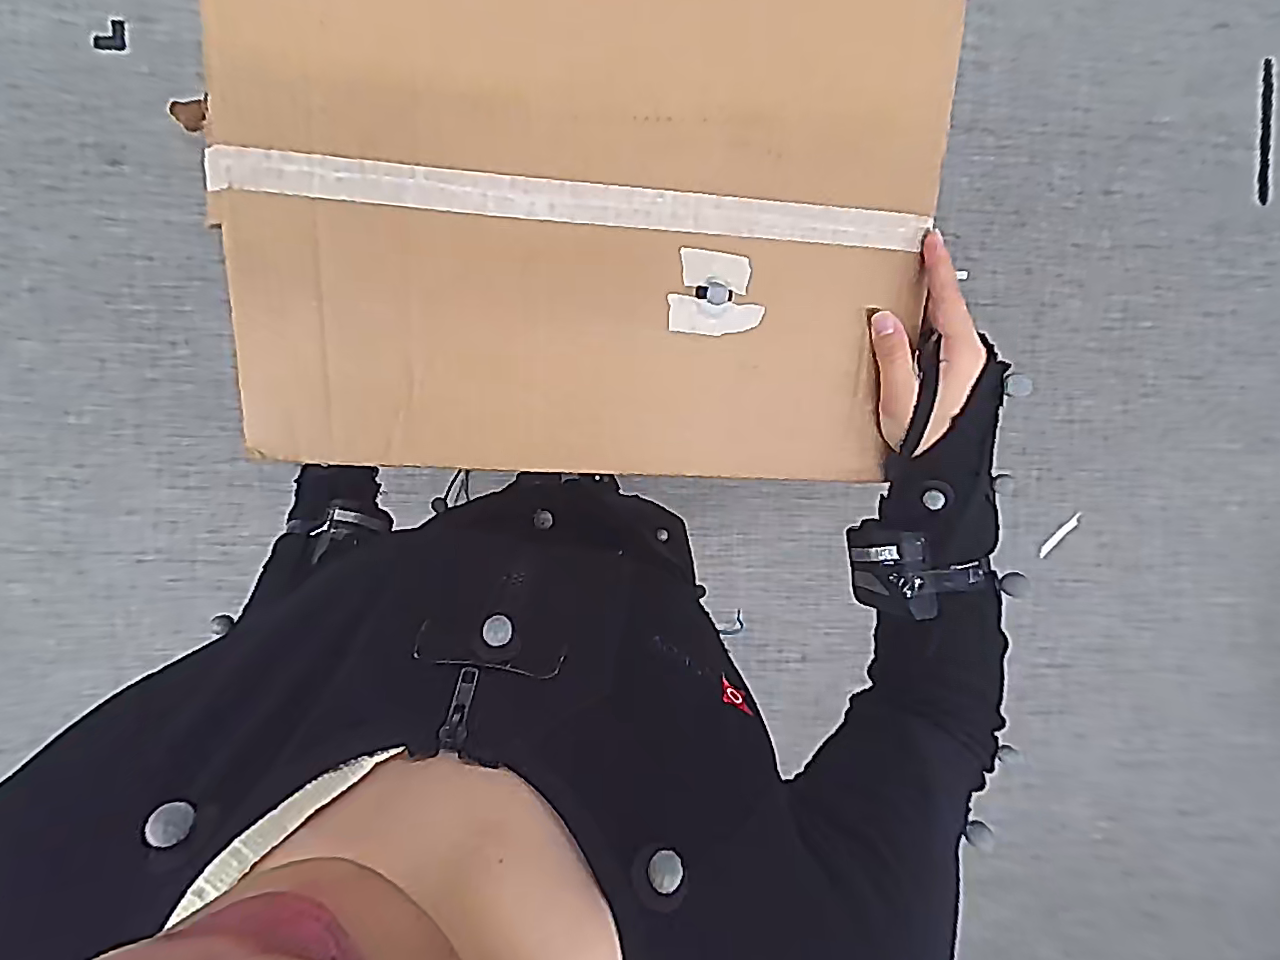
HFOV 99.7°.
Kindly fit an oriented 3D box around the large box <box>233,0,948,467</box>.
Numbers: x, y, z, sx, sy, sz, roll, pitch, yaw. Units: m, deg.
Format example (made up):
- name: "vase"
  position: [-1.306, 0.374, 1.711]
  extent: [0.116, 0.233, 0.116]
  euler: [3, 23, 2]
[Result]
- name: "large box"
  position: [-0.038, -0.191, 0.466]
  extent: [0.408, 0.320, 0.320]
  euler: [1, 103, -9]
